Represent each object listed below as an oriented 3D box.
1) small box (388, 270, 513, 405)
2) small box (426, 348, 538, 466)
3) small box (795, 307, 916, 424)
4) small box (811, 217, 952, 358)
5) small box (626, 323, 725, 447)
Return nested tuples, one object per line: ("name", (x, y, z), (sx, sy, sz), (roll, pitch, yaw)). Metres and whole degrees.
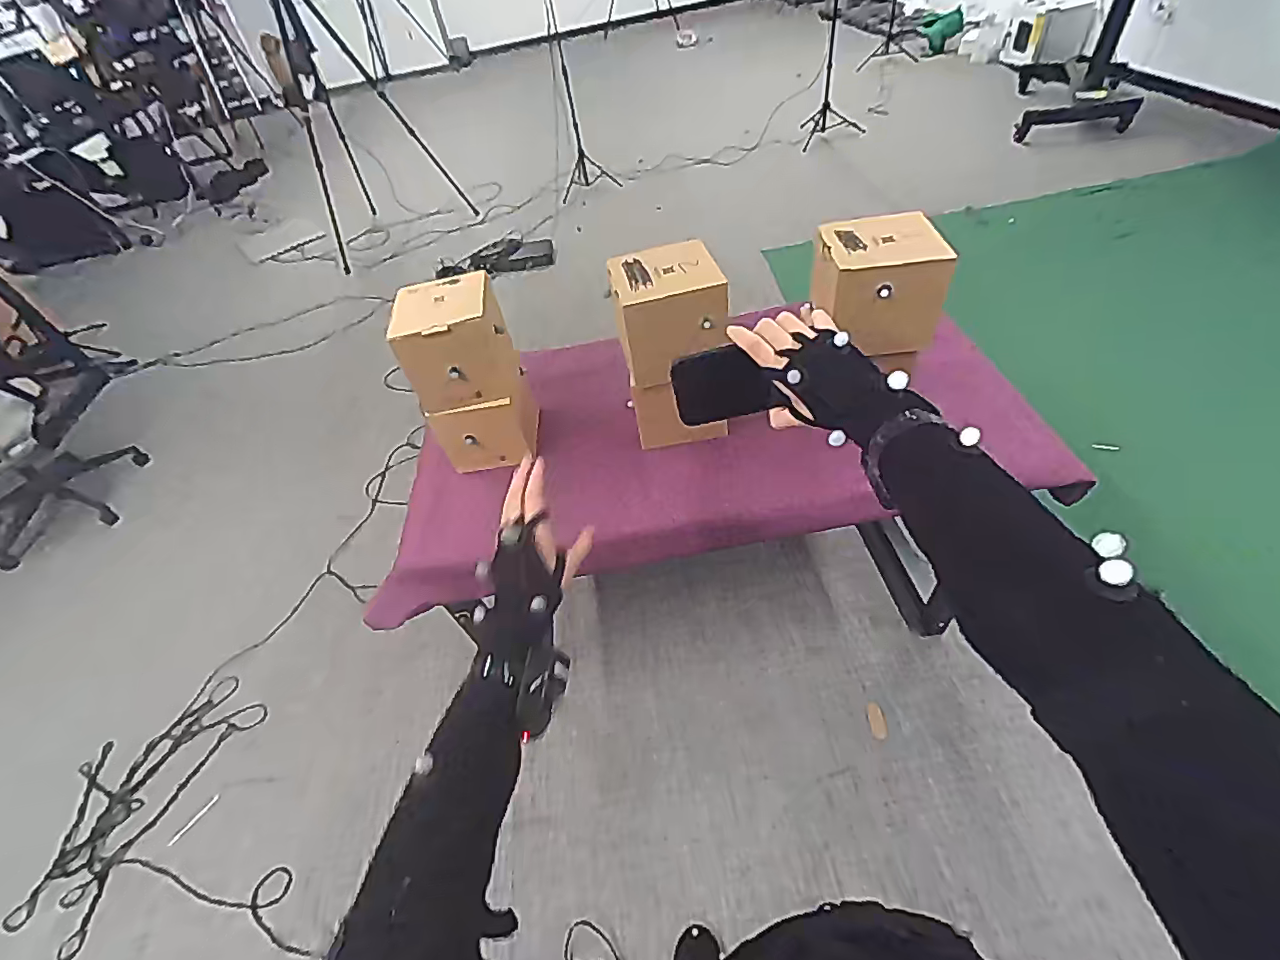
("small box", (-0.339, -0.257, 1.004), (0.168, 0.176, 0.179), (-12, 49, -1))
("small box", (-0.315, -0.143, 1.120), (0.168, 0.176, 0.179), (-8, 48, 3))
("small box", (0.409, -0.227, 1.059), (0.179, 0.176, 0.168), (-4, 48, 7))
("small box", (0.396, -0.324, 0.927), (0.179, 0.176, 0.168), (-4, 48, 6))
("small box", (0.072, -0.187, 1.085), (0.179, 0.176, 0.168), (-9, 48, 3))
